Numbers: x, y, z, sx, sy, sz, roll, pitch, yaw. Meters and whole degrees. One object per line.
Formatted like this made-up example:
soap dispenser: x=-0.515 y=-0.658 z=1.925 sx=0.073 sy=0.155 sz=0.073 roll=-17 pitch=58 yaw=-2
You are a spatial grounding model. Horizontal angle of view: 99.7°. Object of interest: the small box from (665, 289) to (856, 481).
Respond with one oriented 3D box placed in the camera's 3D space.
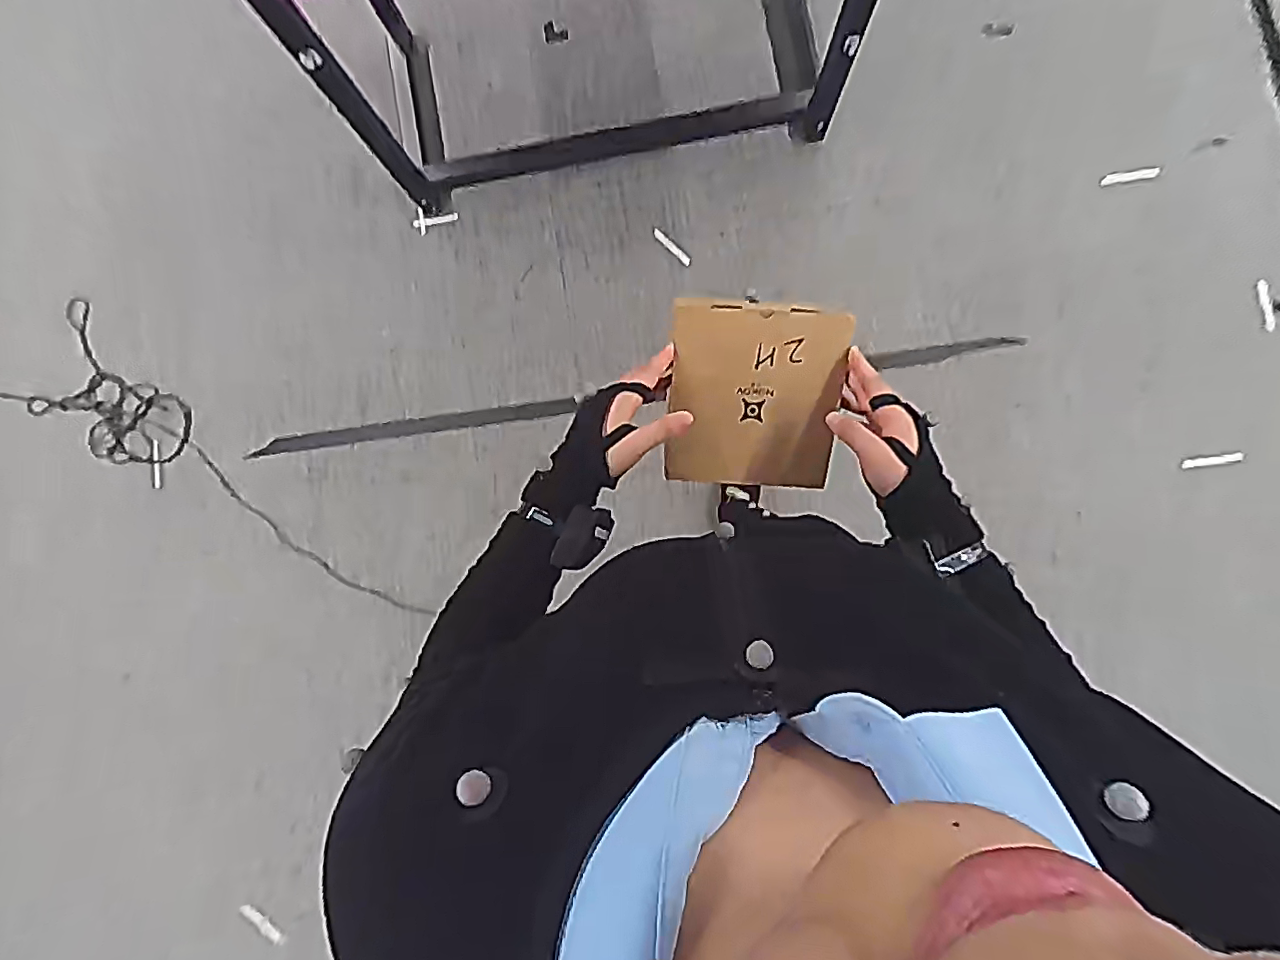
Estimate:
small box: x=0.116 y=-0.113 z=0.597 sx=0.168 sy=0.176 sz=0.179 roll=4 pitch=110 yaw=1
